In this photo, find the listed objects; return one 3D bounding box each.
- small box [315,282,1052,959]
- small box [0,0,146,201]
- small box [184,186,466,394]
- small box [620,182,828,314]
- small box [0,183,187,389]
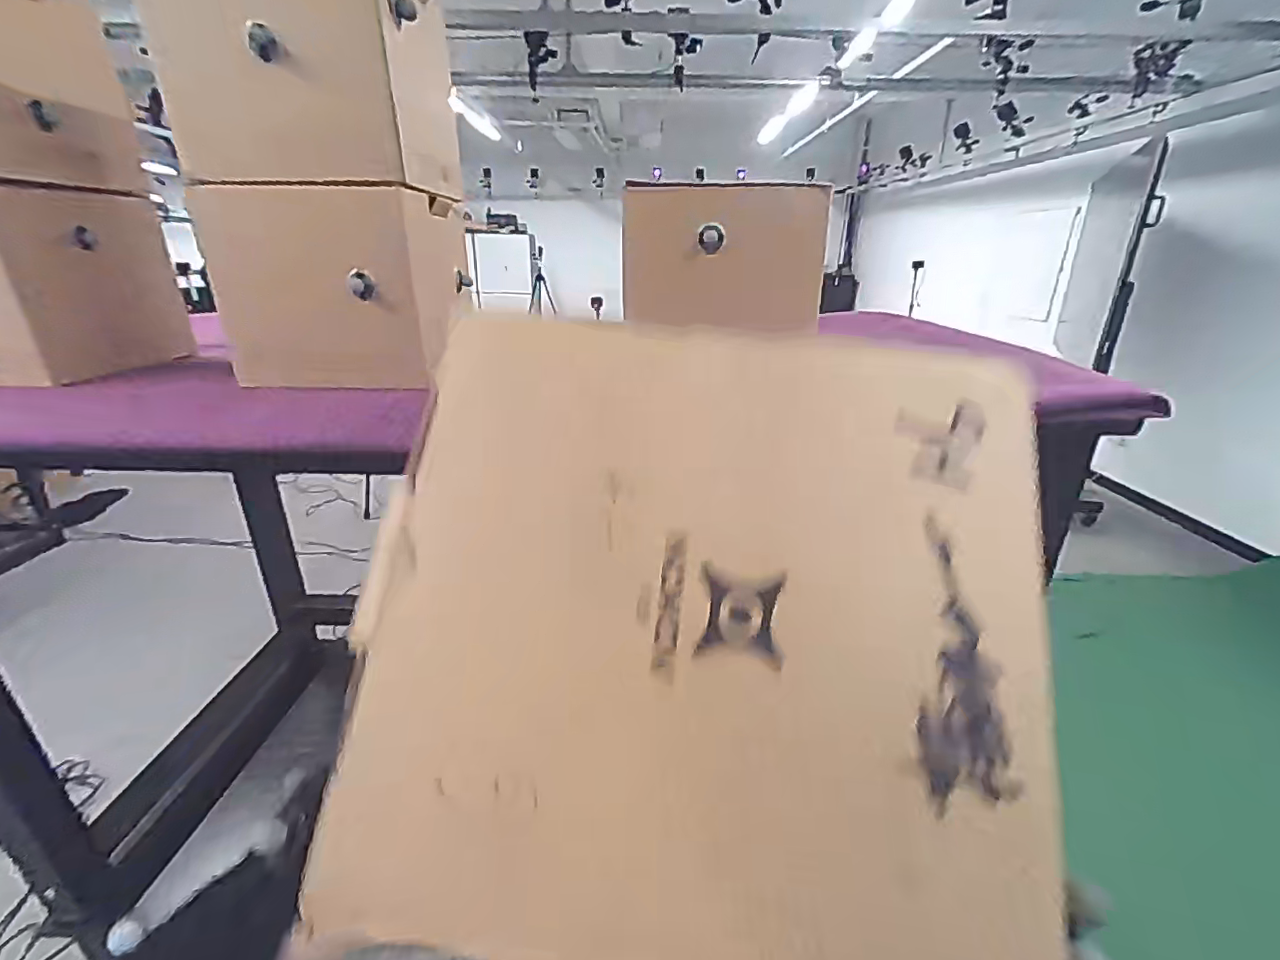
[{"bbox_3d":[0.020,0.046,0.223,0.179,0.168,0.176,8,-14,4],"label":"small box"},{"bbox_3d":[-0.592,-0.338,0.459,0.179,0.176,0.168,1,24,-2],"label":"small box"},{"bbox_3d":[-0.275,-0.184,0.530,0.179,0.176,0.168,0,22,0],"label":"small box"},{"bbox_3d":[0.074,-0.191,0.548,0.179,0.176,0.168,1,21,2],"label":"small box"},{"bbox_3d":[-0.596,-0.188,0.523,0.168,0.176,0.179,2,23,-1],"label":"small box"}]
